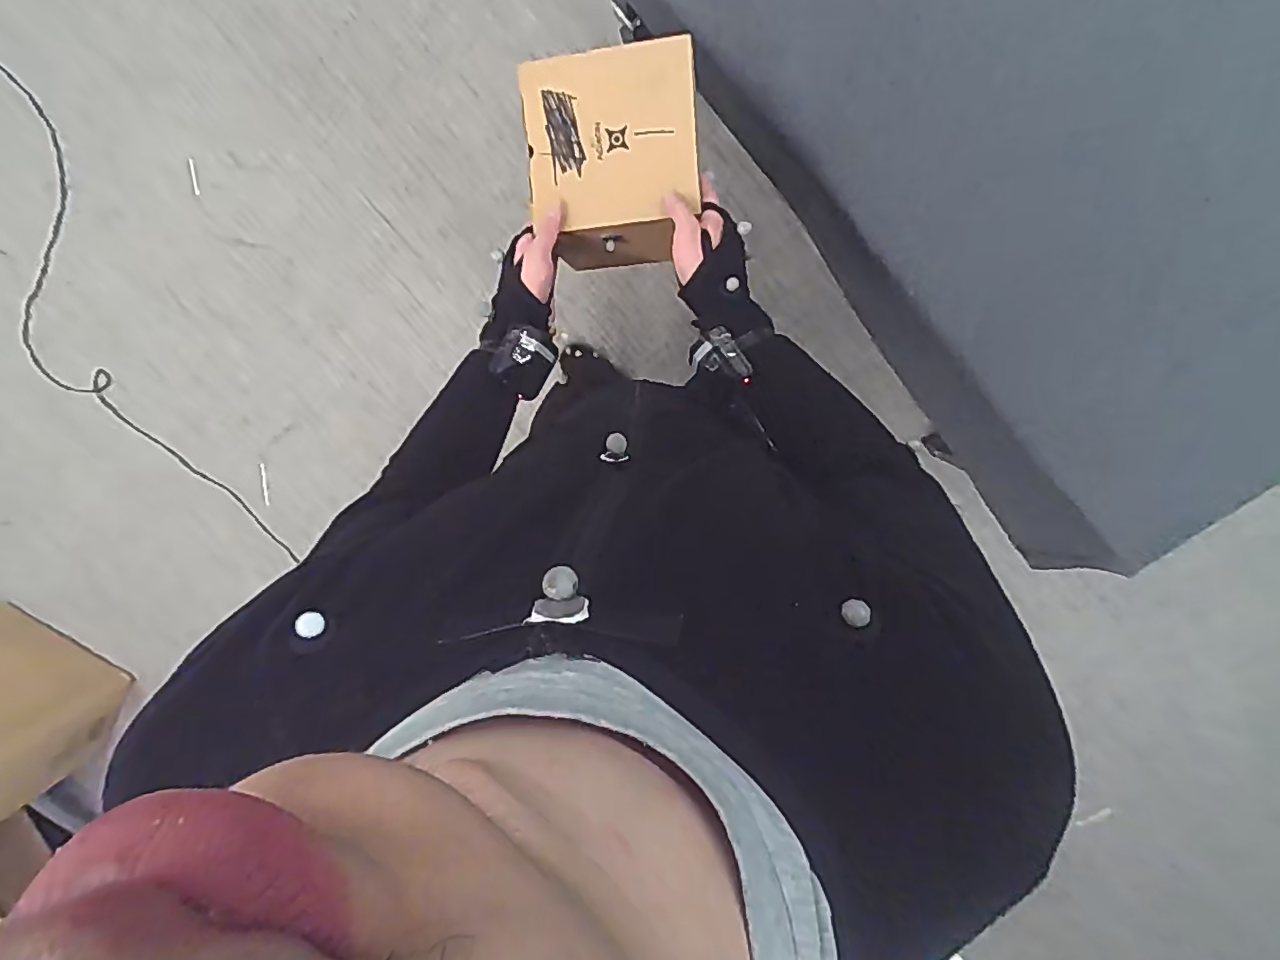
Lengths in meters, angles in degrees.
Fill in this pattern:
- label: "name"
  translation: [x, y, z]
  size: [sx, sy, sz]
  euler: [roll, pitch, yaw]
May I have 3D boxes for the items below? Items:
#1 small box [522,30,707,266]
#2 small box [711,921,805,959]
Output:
- label: "small box"
  translation: [-0.016, -0.350, 0.608]
  size: [0.179, 0.176, 0.168]
  euler: [-3, 99, 7]
- label: "small box"
  translation: [0.261, 1.110, 1.160]
  size: [0.179, 0.176, 0.168]
  euler: [-37, 99, 14]
